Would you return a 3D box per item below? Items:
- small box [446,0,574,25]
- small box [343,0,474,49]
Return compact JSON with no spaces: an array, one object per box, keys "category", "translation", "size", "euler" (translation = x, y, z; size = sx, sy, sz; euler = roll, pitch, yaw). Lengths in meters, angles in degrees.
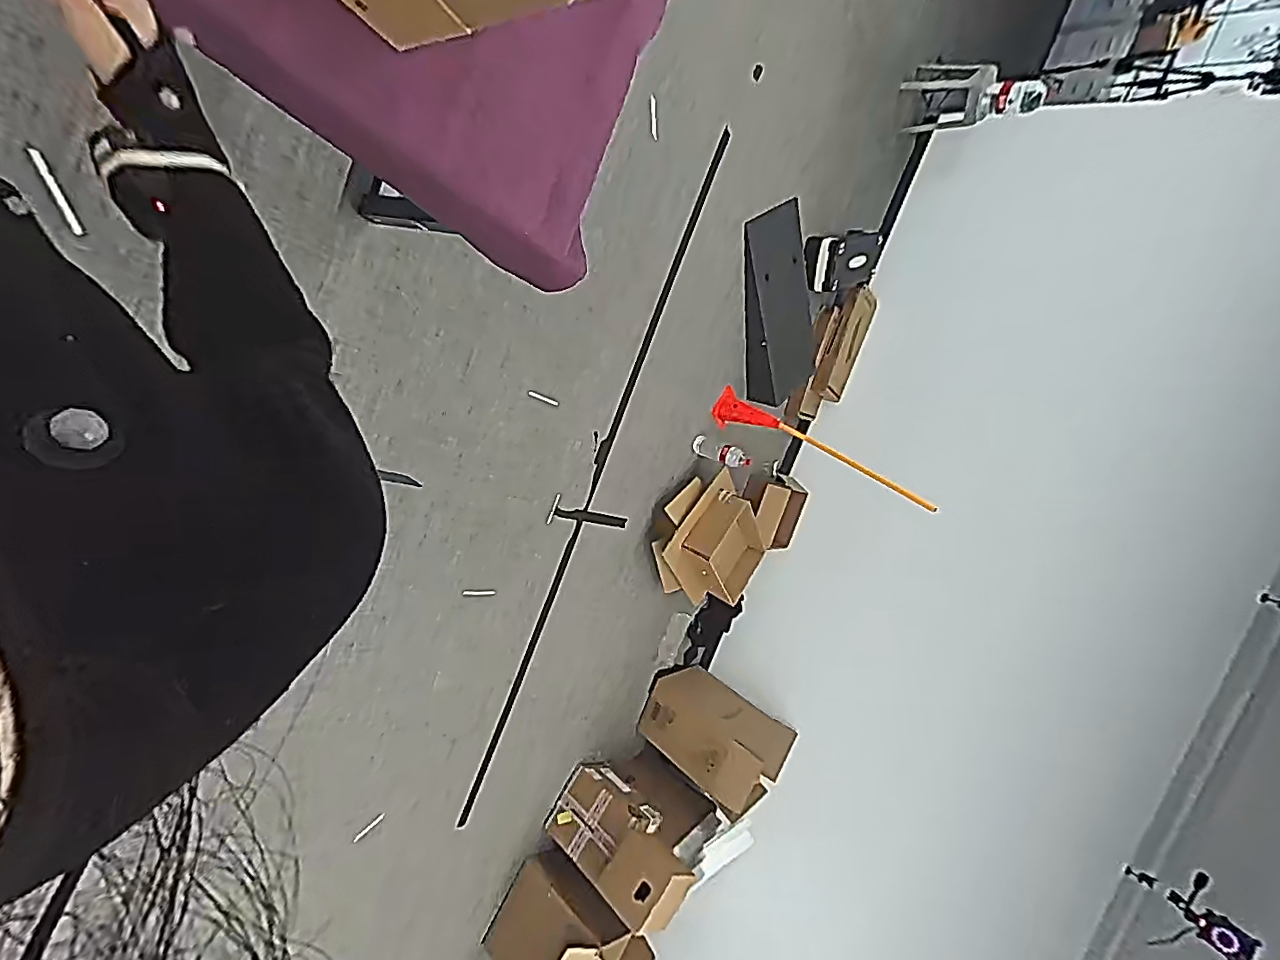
[{"category":"small box","translation":[-0.135,-0.553,0.474],"size":[0.168,0.176,0.179],"euler":[18,95,-55]},{"category":"small box","translation":[-0.260,-0.603,0.567],"size":[0.168,0.176,0.179],"euler":[16,96,-54]}]
